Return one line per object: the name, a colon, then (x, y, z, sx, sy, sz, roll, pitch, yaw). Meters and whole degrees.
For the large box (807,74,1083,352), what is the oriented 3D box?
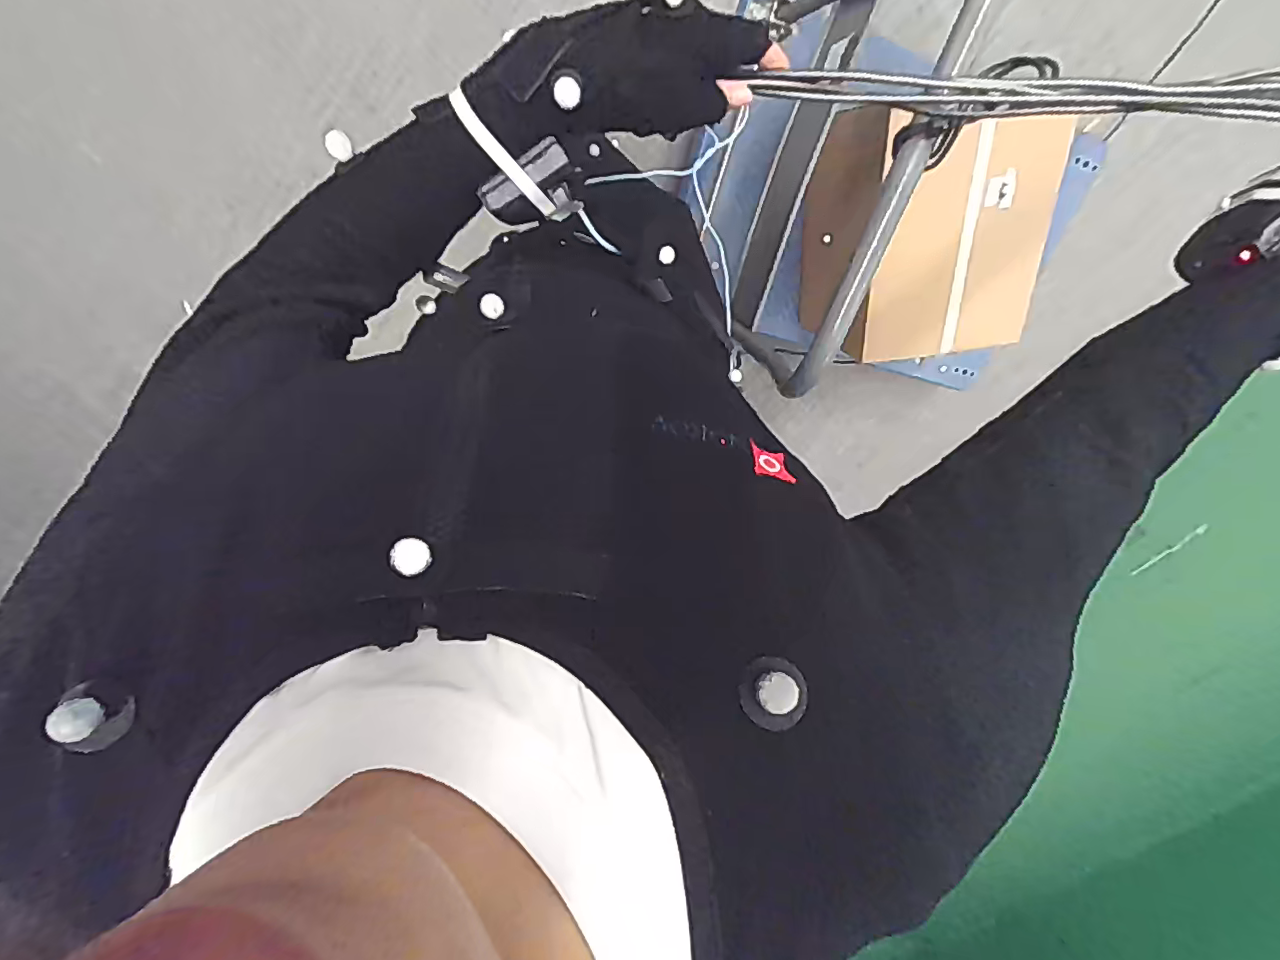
large box: (0.532, -0.500, 1.044, 0.320, 0.320, 0.408, -8, 120, -4)
